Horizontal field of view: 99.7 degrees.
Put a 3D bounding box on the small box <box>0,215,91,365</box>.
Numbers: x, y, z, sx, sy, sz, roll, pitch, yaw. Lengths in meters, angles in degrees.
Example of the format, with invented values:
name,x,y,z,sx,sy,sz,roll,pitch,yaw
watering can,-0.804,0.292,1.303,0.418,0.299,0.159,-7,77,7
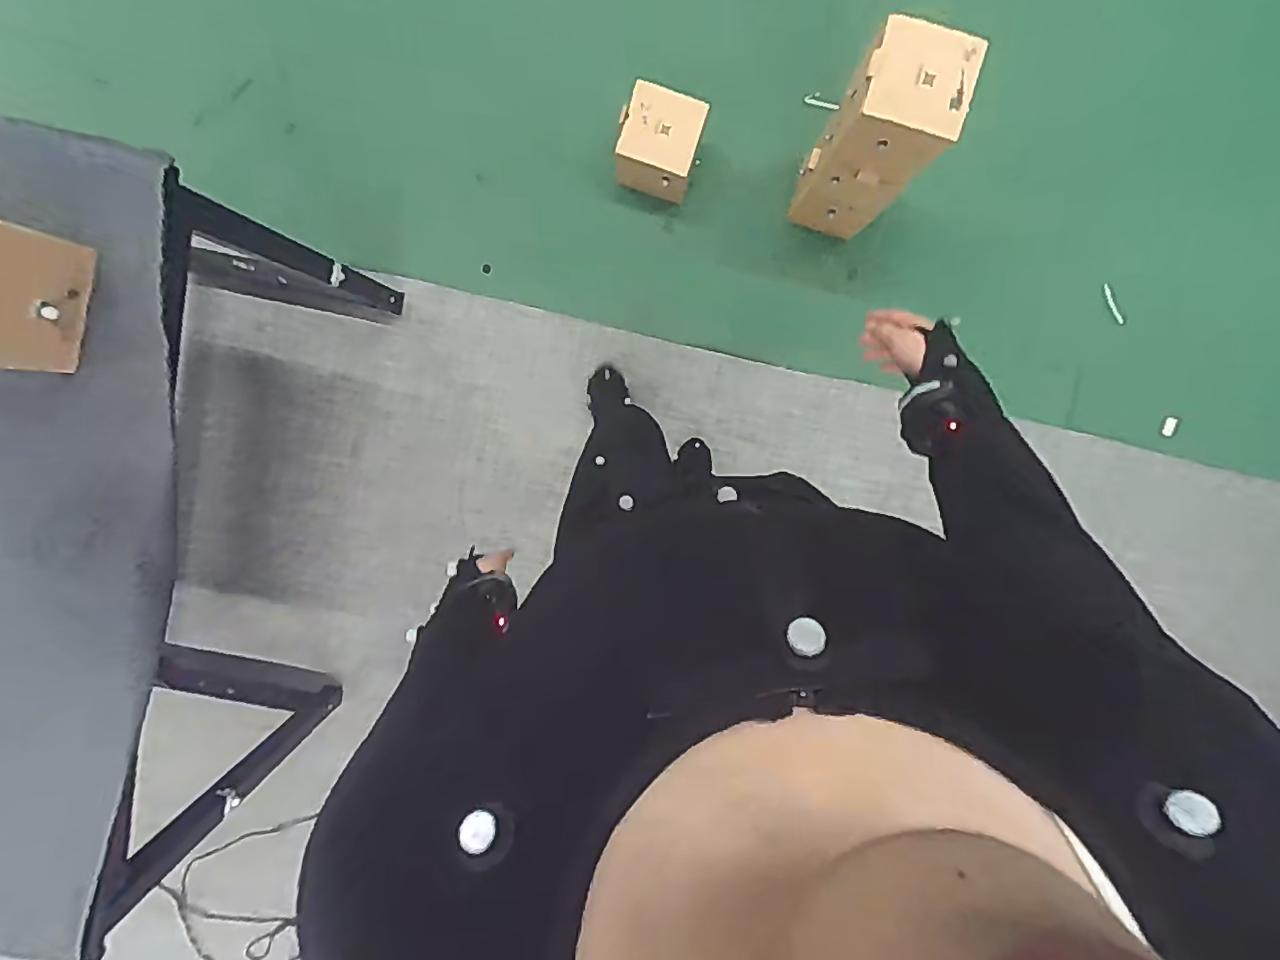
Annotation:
name,x,y,z,sx,sy,sz,roll,pitch,yaw
small box,-0.807,-0.237,0.618,0.179,0.176,0.168,18,98,-1

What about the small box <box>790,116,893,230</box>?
name,x,y,z,sx,sy,sz,roll,pitch,yaw
small box,0.486,-0.723,1.296,0.179,0.176,0.168,16,98,-2

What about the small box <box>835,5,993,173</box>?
name,x,y,z,sx,sy,sz,roll,pitch,yaw
small box,0.475,-0.685,0.970,0.179,0.176,0.168,15,97,-1

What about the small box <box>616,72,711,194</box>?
name,x,y,z,sx,sy,sz,roll,pitch,yaw
small box,0.052,-0.809,1.283,0.179,0.176,0.168,18,97,-2
